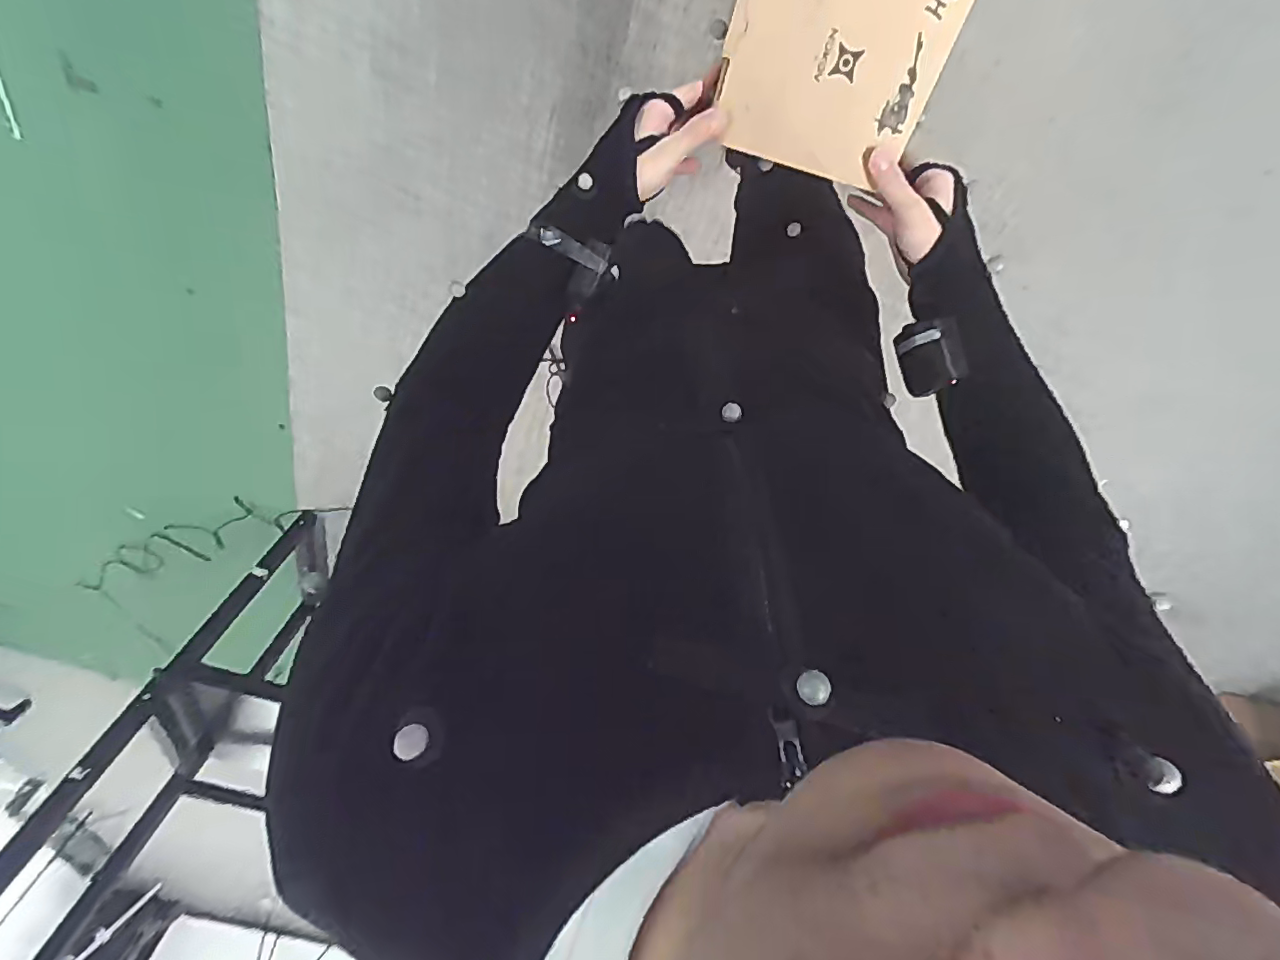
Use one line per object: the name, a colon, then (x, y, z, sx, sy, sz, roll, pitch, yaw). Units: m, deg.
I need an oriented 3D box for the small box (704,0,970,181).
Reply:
small box: (0.166, -0.403, 0.506, 0.179, 0.176, 0.168, 15, 125, -7)
